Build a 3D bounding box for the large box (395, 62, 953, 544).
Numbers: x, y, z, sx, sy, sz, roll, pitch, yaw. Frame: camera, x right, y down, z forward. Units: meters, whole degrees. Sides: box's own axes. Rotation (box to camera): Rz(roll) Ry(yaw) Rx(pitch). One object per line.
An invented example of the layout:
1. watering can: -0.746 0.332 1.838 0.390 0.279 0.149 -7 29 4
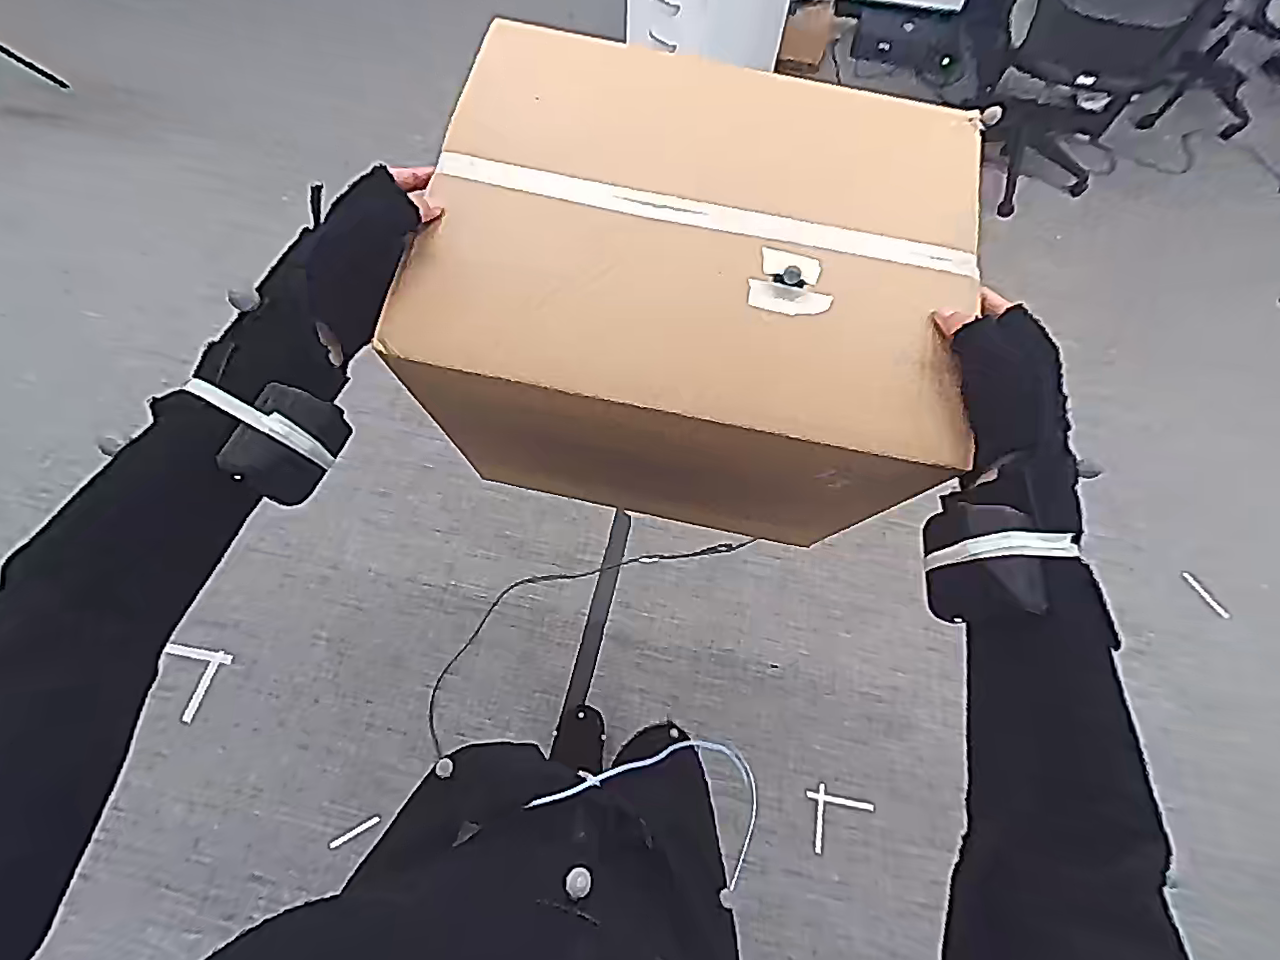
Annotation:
1. large box: 0.037 -0.141 0.565 0.408 0.320 0.320 12 74 0
